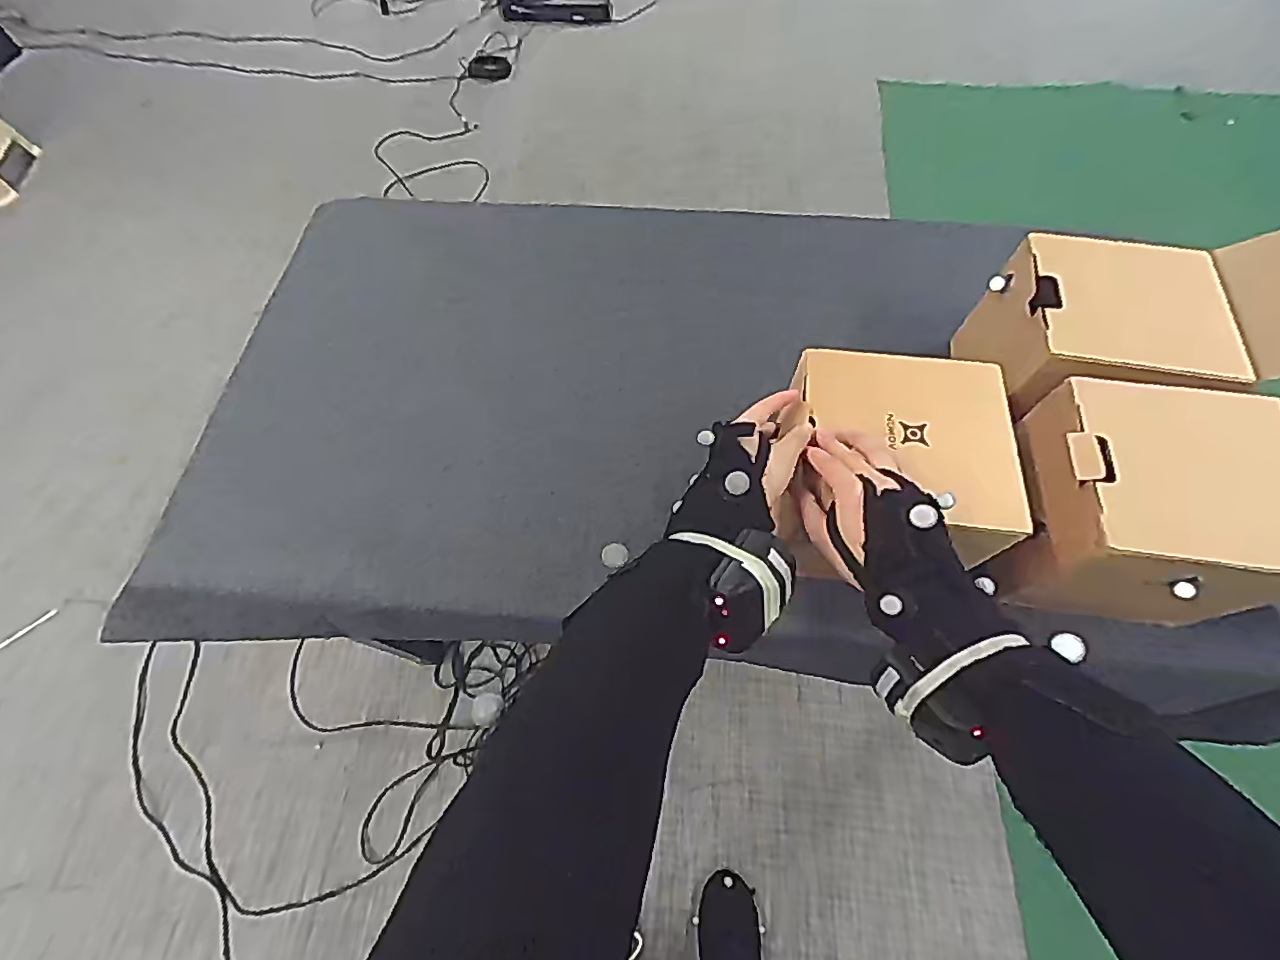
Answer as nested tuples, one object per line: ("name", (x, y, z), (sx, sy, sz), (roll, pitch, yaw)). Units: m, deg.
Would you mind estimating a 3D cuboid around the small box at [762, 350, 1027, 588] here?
("small box", (0.224, -0.001, 0.524), (0.179, 0.176, 0.168), (6, 64, 5))
